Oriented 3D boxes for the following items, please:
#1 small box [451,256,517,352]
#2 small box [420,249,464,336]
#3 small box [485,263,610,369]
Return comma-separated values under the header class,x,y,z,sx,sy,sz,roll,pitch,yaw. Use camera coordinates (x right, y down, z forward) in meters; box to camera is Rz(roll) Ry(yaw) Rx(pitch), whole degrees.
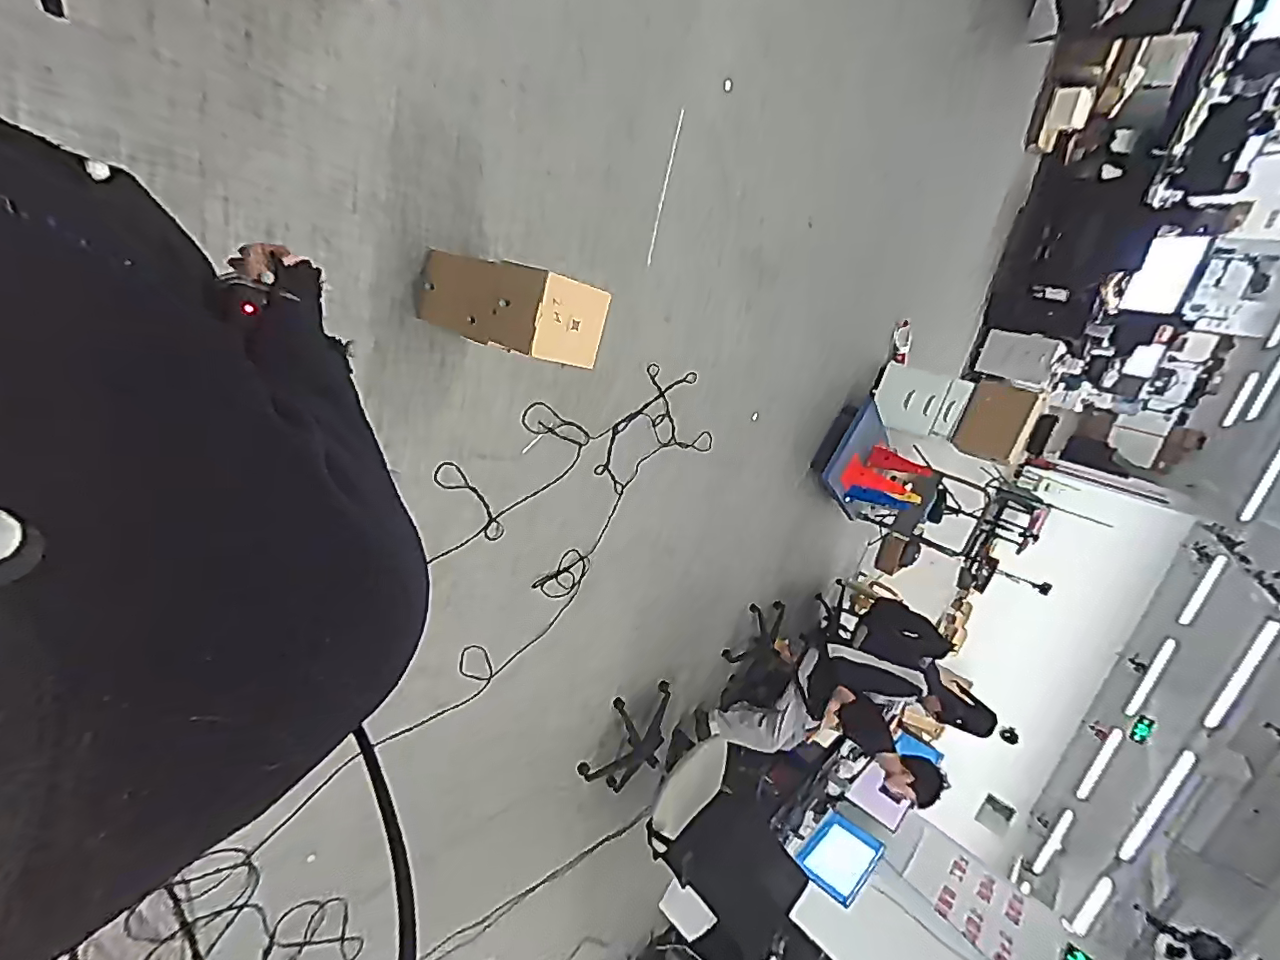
class,x,y,z,sx,sy,sz,roll,pitch,yaw
small box,-0.316,-0.400,1.249,0.168,0.176,0.179,-3,112,-49
small box,-0.428,-0.457,1.352,0.168,0.176,0.179,1,111,-49
small box,-0.198,-0.347,1.146,0.179,0.176,0.168,0,112,-49
